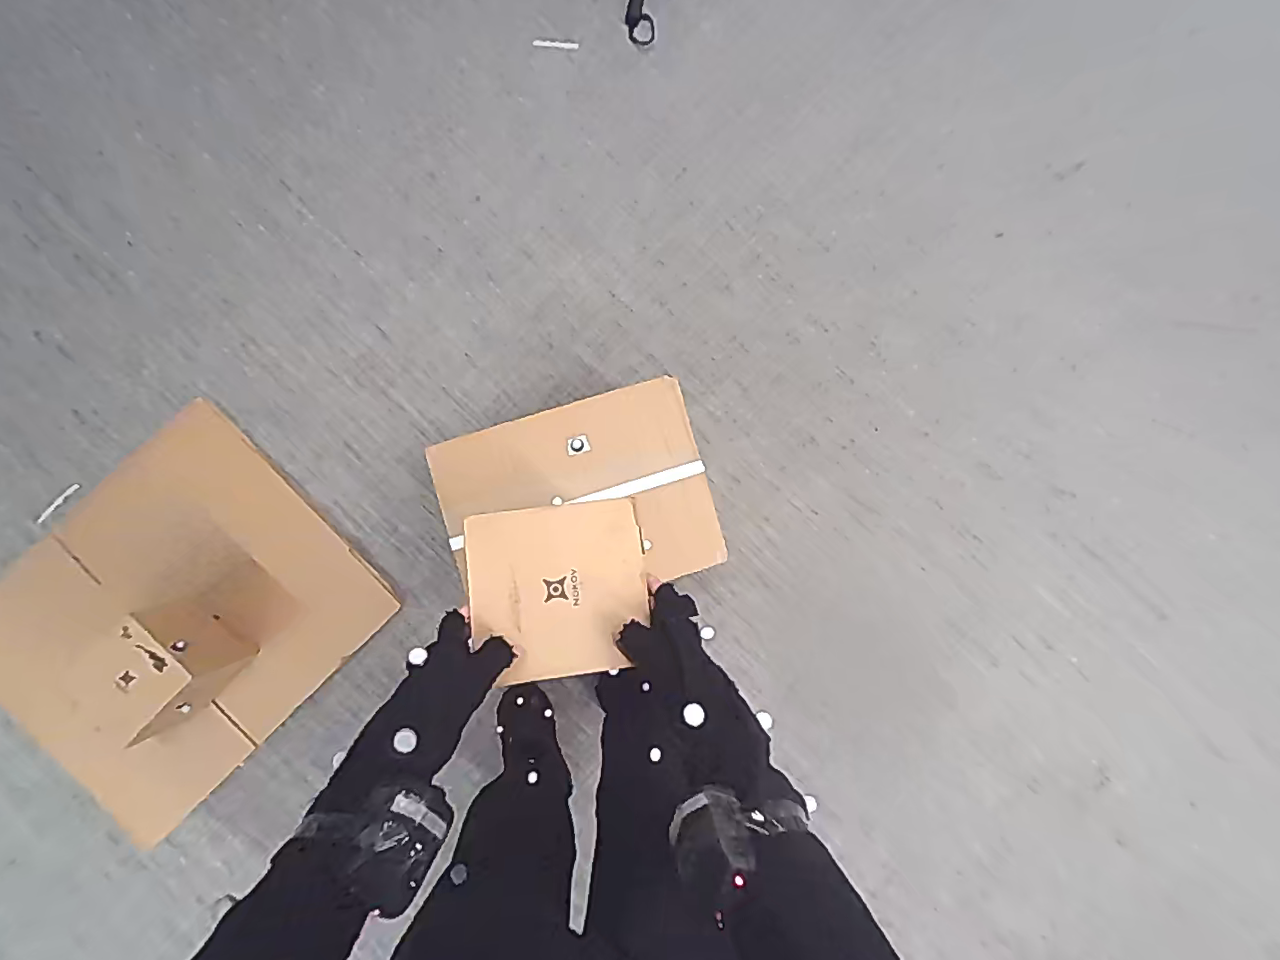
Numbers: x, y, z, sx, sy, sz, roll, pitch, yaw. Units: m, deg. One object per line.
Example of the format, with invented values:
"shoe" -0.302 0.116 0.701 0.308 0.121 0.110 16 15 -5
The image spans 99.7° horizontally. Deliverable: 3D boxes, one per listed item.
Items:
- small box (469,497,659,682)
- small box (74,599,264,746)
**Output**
"small box" -0.082 0.121 0.620 0.179 0.176 0.168 -8 79 -4
"small box" -0.871 0.351 1.020 0.168 0.176 0.179 40 88 3
